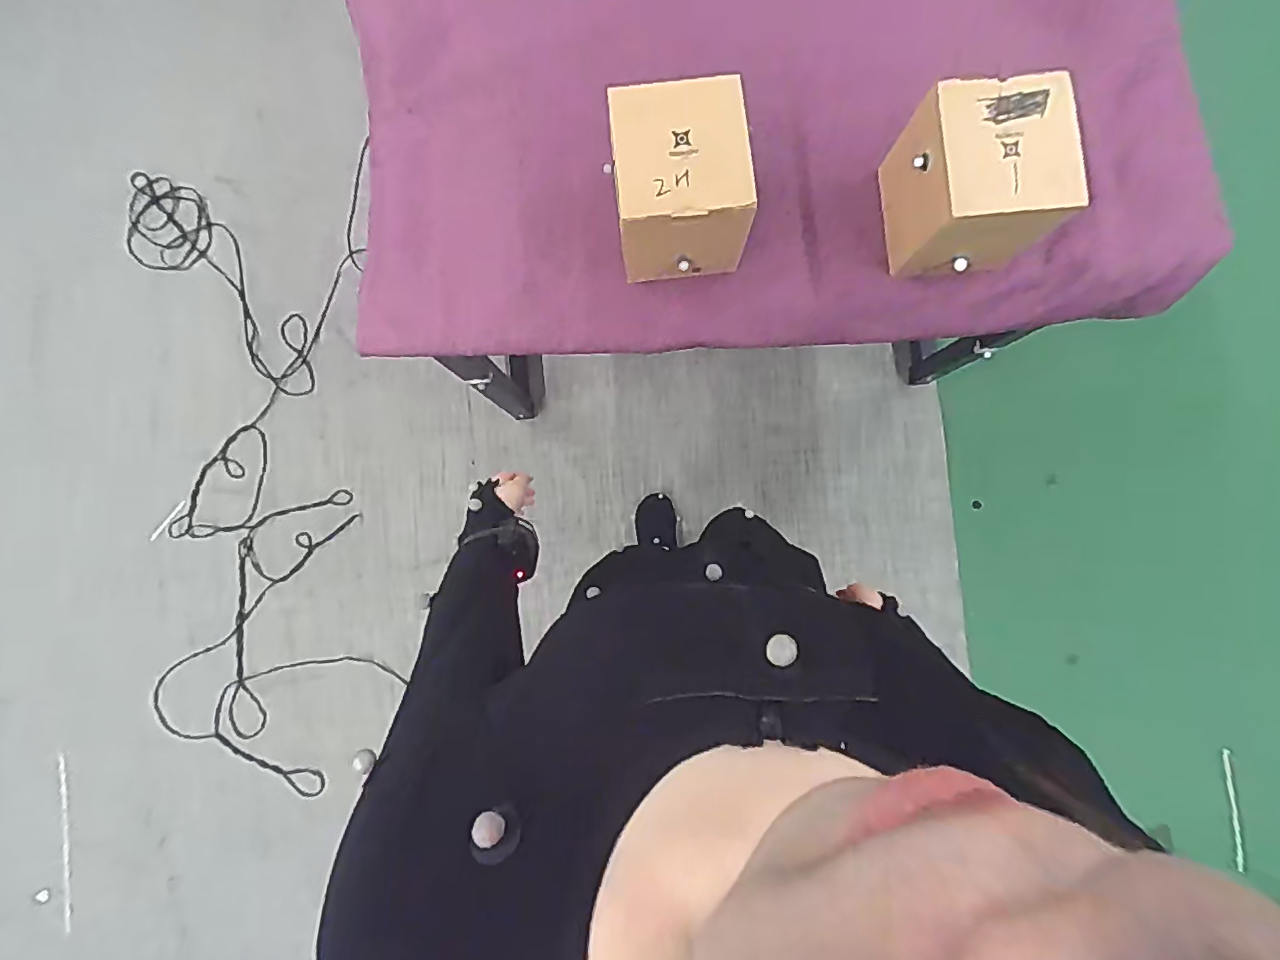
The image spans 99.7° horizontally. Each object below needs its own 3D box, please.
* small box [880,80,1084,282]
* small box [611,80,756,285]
[{"bbox_3d":[0.446,-0.394,0.736,0.168,0.176,0.179,-4,86,0],"label":"small box"},{"bbox_3d":[0.051,-0.392,0.736,0.168,0.176,0.179,-6,84,0],"label":"small box"}]
